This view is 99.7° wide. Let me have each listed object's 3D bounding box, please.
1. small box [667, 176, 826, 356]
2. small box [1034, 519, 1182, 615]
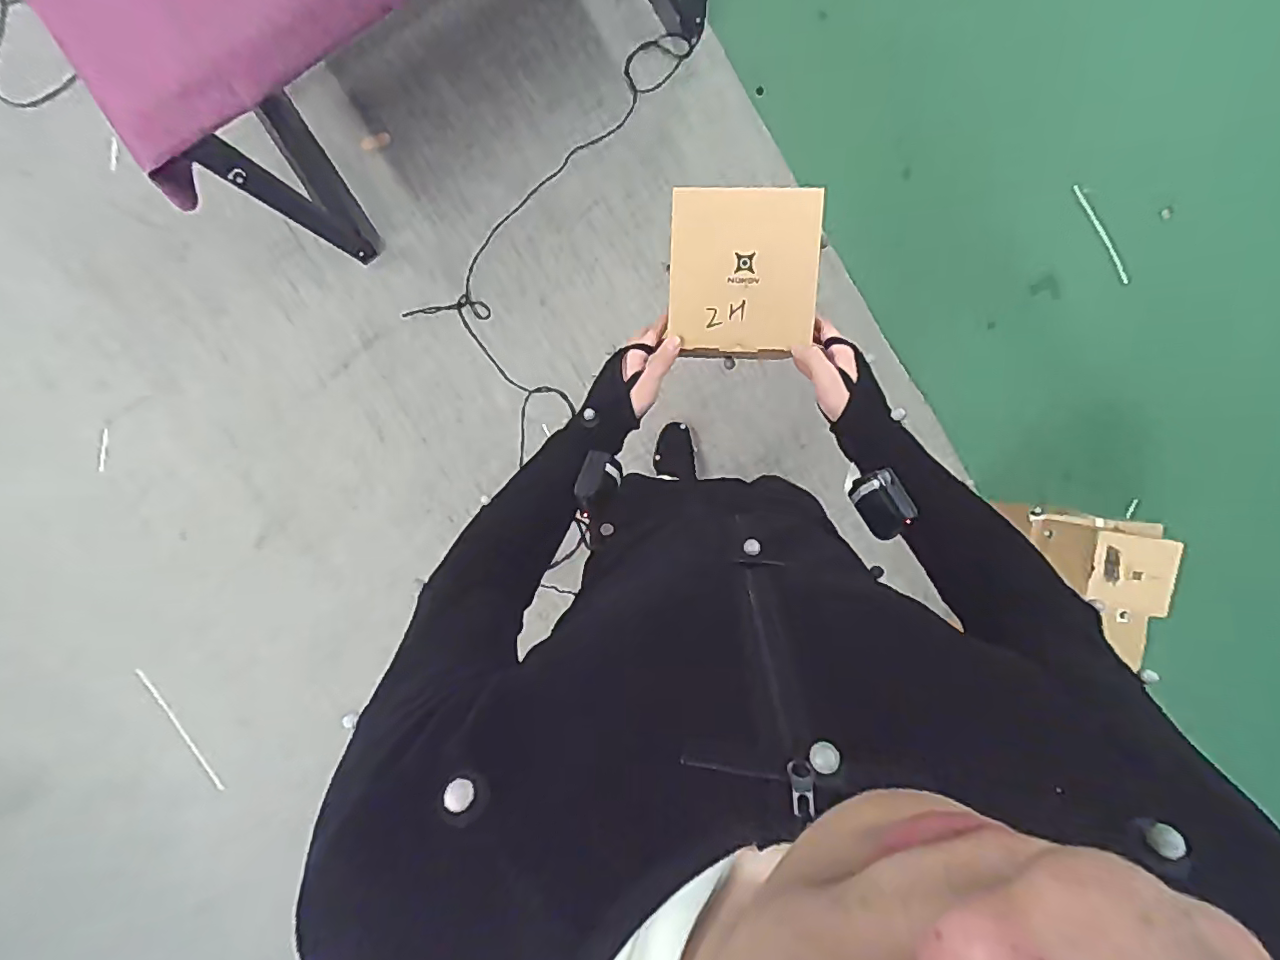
[{"bbox_3d":[0.120,-0.252,0.674,0.168,0.176,0.179,3,100,4],"label":"small box"},{"bbox_3d":[1.032,0.186,1.209,0.179,0.176,0.168,8,95,1],"label":"small box"}]
